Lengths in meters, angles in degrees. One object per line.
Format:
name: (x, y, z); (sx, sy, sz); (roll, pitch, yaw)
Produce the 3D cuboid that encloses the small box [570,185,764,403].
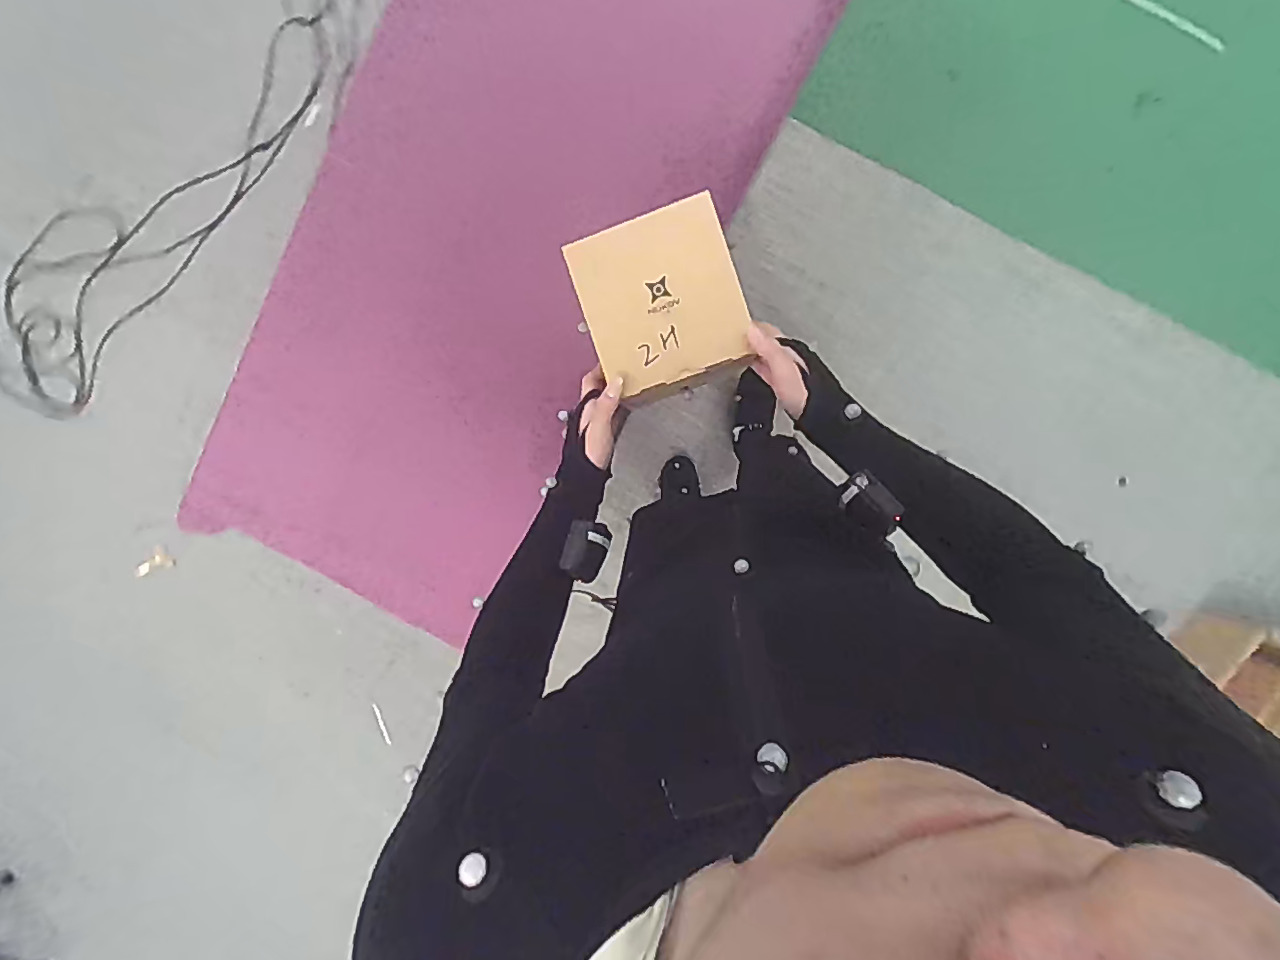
small box: (0.033, -0.200, 0.637); (0.168, 0.176, 0.179); (-17, 93, 7)
